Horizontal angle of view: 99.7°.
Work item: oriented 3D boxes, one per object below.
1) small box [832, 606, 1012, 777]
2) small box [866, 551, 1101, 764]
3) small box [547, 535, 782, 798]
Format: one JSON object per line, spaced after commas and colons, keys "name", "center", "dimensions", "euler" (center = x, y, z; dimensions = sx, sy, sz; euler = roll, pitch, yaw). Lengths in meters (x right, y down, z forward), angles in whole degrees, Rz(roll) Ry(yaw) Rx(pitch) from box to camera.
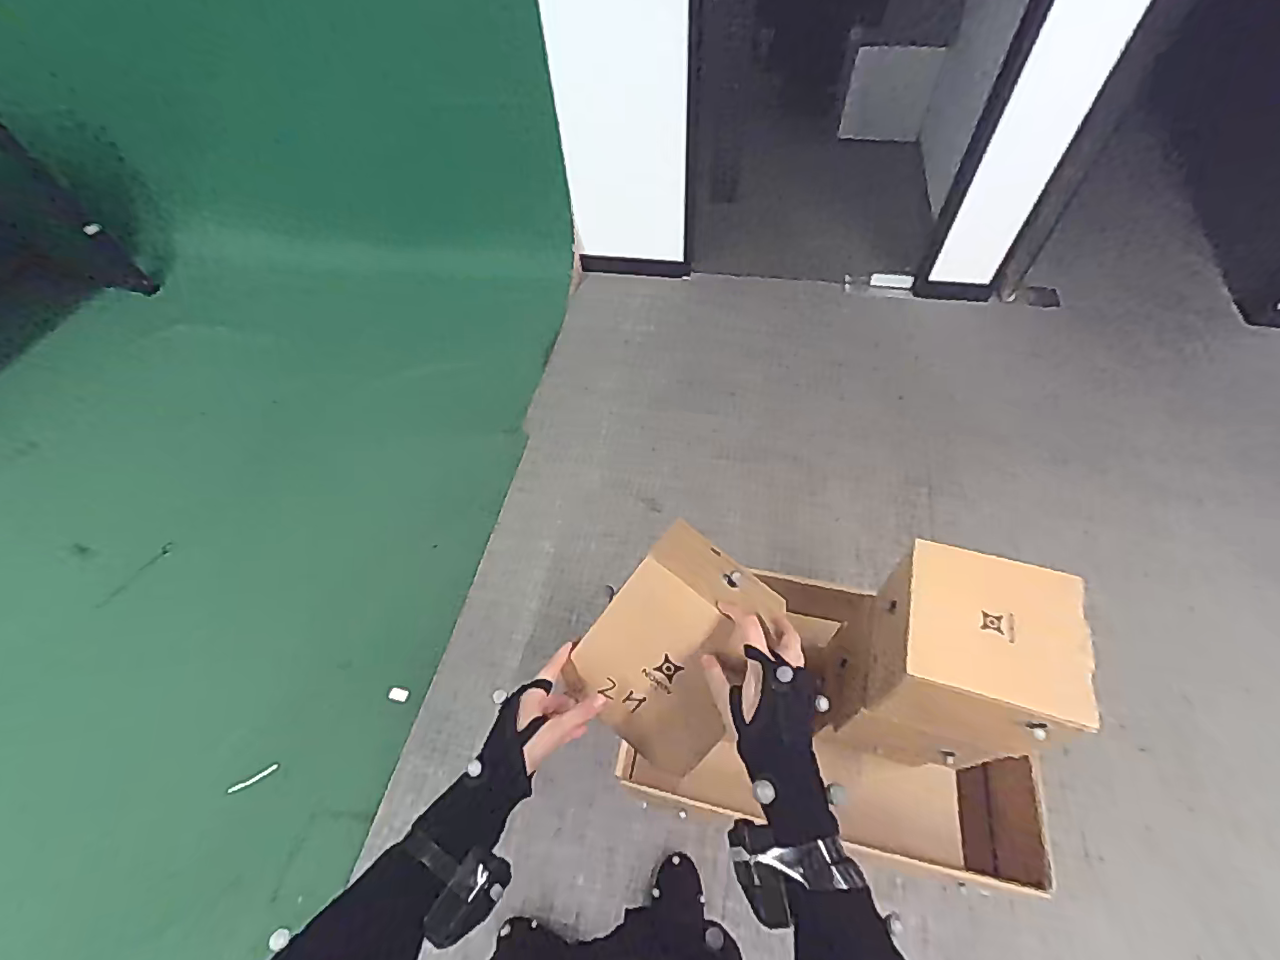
{"name": "small box", "center": [0.384, 0.302, 0.760], "dimensions": [0.179, 0.176, 0.168], "euler": [12, 57, 14]}
{"name": "small box", "center": [0.376, 0.209, 0.626], "dimensions": [0.179, 0.176, 0.168], "euler": [14, 57, 13]}
{"name": "small box", "center": [0.034, 0.185, 0.593], "dimensions": [0.168, 0.176, 0.179], "euler": [38, 105, 7]}
